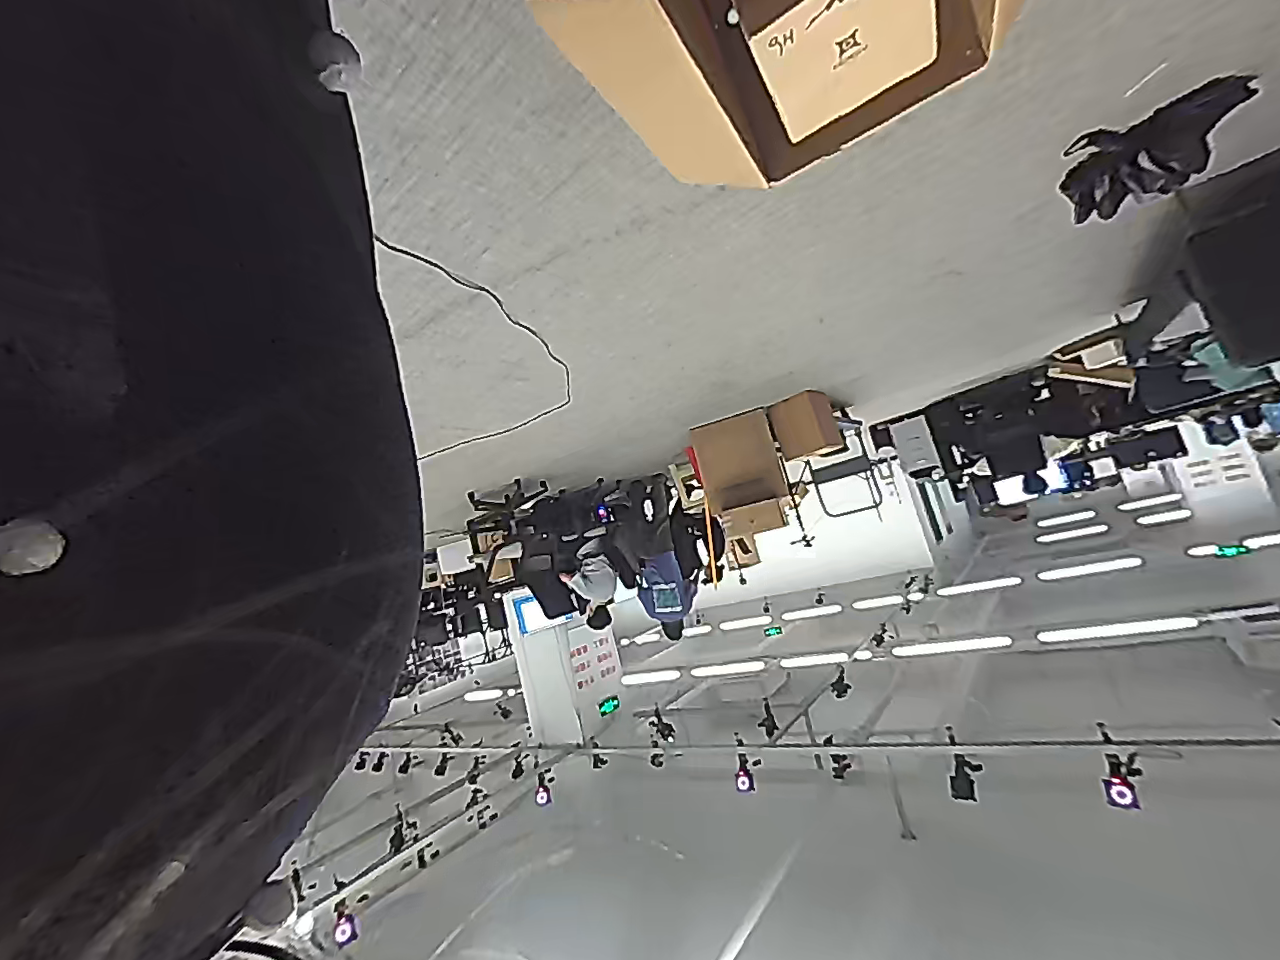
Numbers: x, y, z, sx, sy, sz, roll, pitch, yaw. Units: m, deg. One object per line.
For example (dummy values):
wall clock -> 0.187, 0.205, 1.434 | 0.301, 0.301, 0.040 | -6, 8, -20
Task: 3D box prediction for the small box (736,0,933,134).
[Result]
small box -> 0.195, -0.530, 0.573 | 0.168, 0.176, 0.179 | -21, 169, 28
